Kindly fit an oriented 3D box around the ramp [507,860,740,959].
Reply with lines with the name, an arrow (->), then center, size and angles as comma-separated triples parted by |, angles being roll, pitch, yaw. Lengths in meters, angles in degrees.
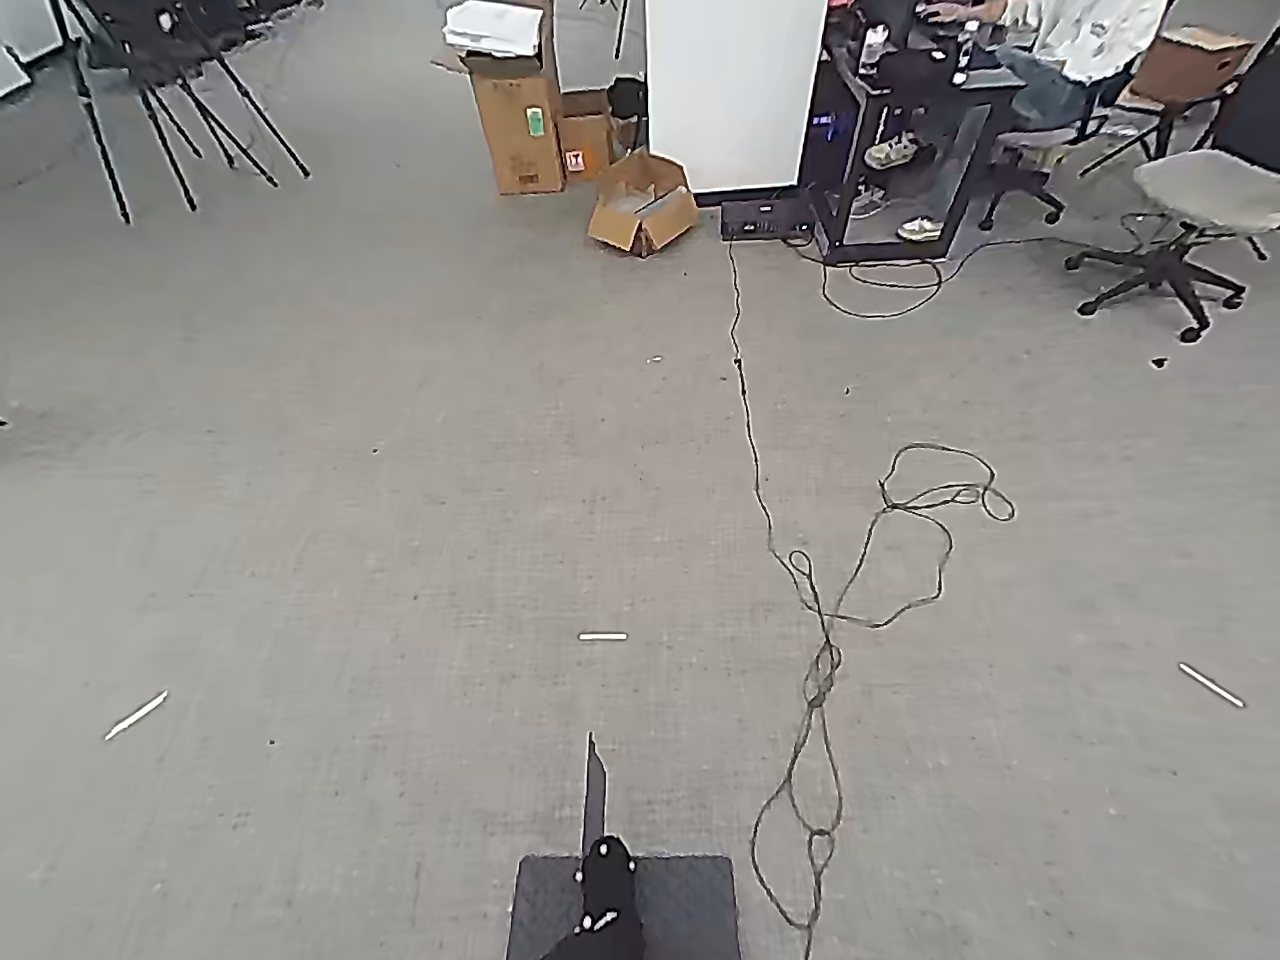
ramp -> -0.040, 1.216, 0.881 | 0.509, 0.206, 0.991 | -4, 52, 2
